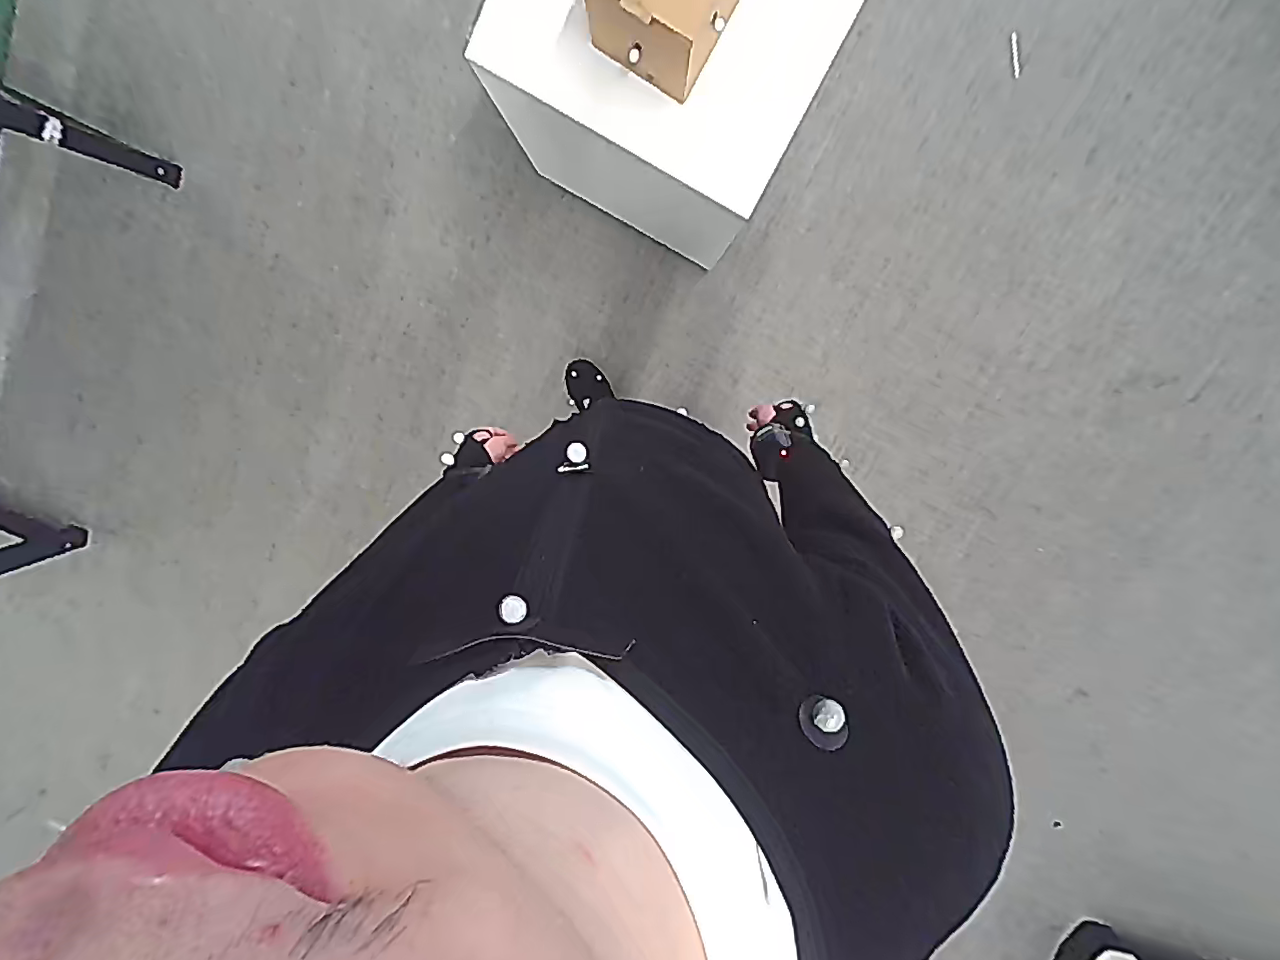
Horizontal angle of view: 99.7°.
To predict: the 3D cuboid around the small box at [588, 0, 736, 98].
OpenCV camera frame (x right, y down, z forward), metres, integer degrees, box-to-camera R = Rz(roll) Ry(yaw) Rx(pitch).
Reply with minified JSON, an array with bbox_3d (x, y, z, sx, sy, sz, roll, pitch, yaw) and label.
[{"bbox_3d":[0.039,-0.680,0.743,0.168,0.176,0.179,27,101,-5],"label":"small box"}]
